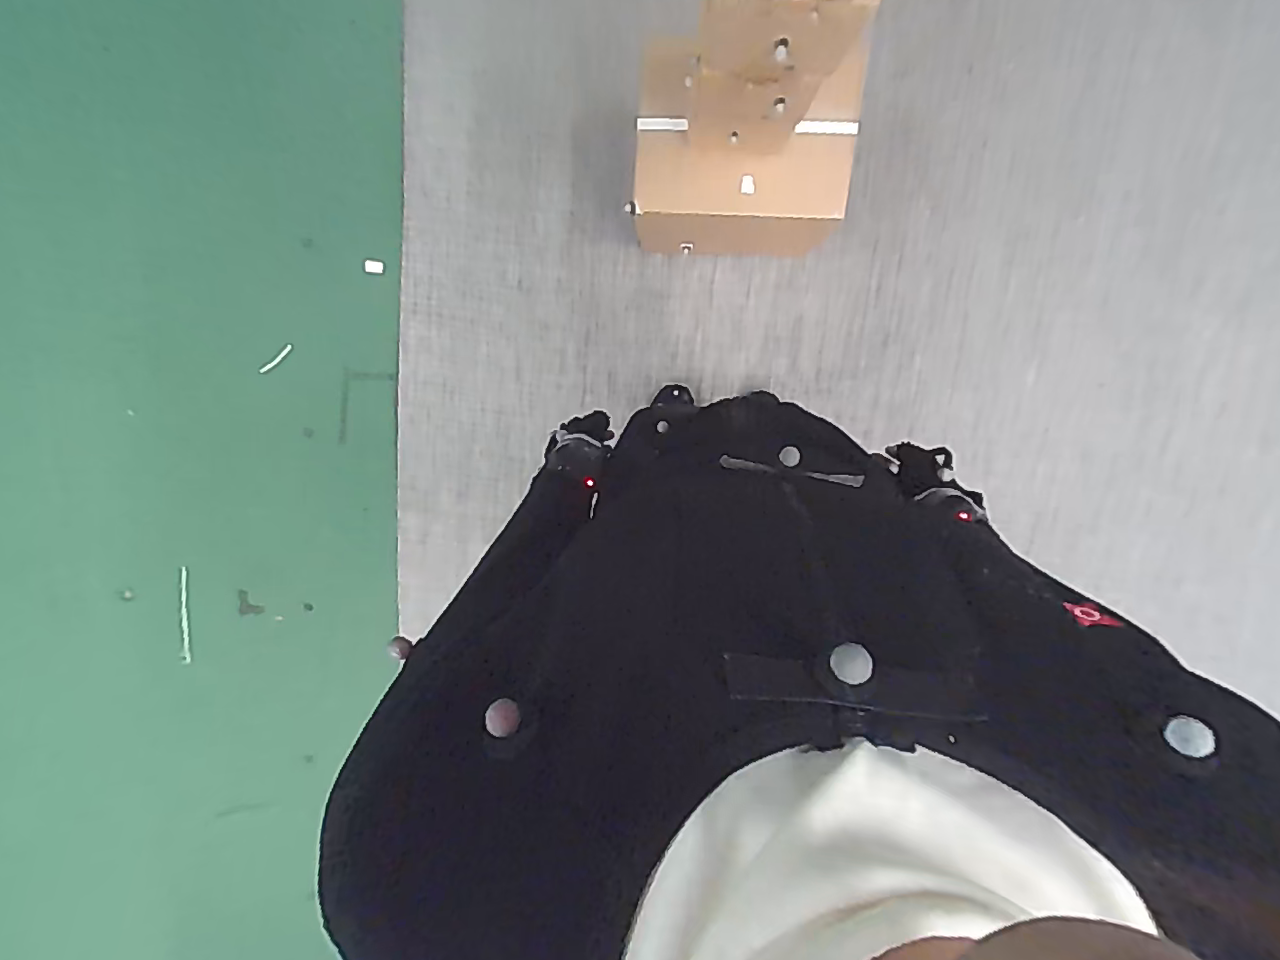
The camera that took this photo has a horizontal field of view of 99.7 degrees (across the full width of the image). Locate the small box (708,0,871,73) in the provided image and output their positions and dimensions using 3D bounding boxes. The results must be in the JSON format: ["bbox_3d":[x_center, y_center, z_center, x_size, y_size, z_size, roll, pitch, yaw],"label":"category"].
[{"bbox_3d":[0.167,-0.587,0.601,0.168,0.176,0.179,5,107,3],"label":"small box"}]

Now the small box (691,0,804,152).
[{"bbox_3d":[0.181,-0.673,0.915,0.179,0.176,0.168,4,107,4],"label":"small box"}]

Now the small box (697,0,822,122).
[{"bbox_3d":[0.169,-0.631,0.760,0.168,0.176,0.179,4,105,3],"label":"small box"}]
